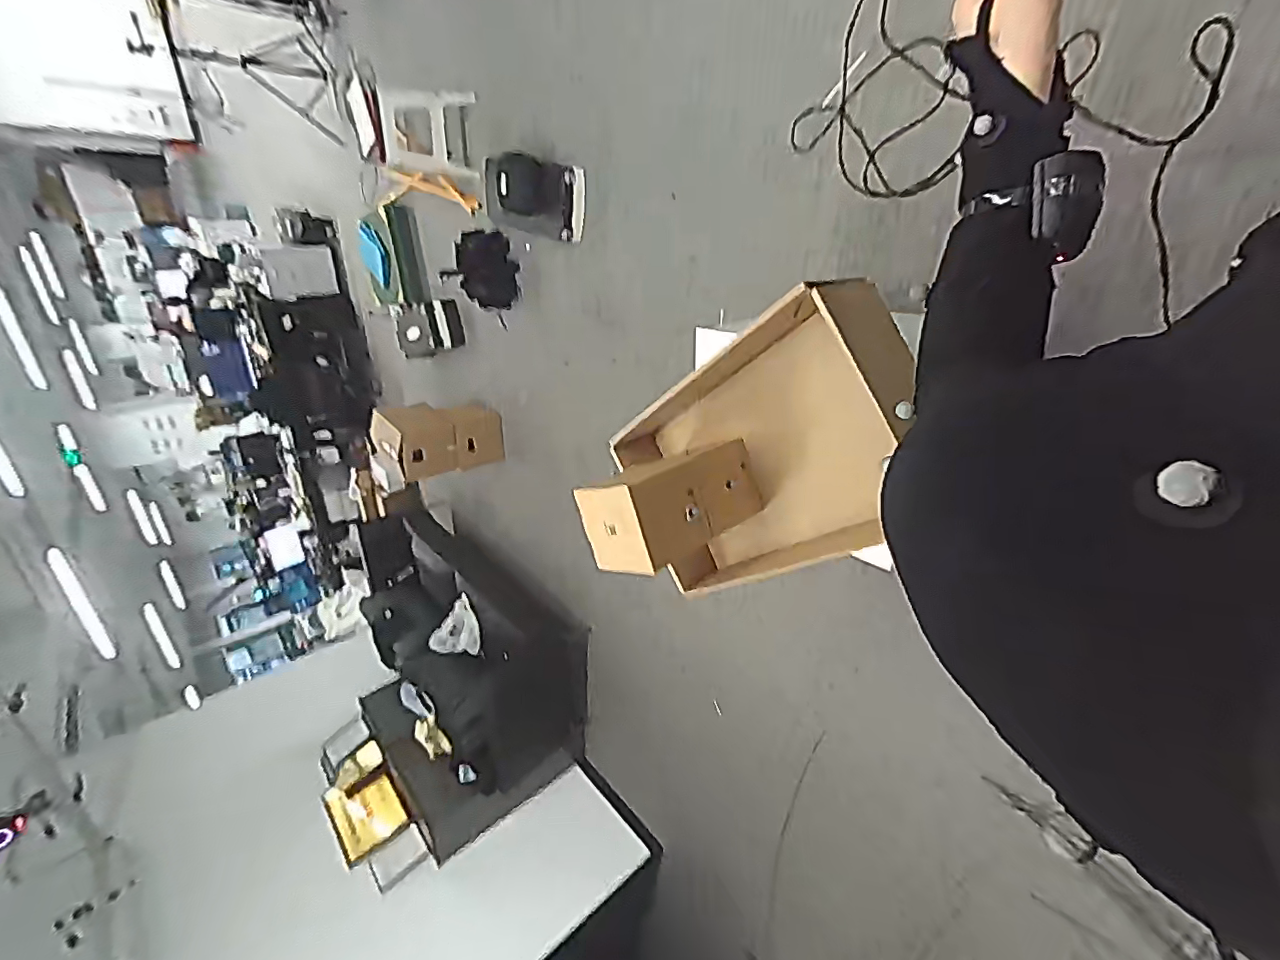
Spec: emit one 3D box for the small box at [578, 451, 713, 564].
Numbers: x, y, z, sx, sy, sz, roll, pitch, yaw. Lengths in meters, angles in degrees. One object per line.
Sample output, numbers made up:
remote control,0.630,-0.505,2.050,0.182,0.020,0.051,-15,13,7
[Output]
small box,0.012,0.051,1.054,0.179,0.176,0.168,-7,104,50
